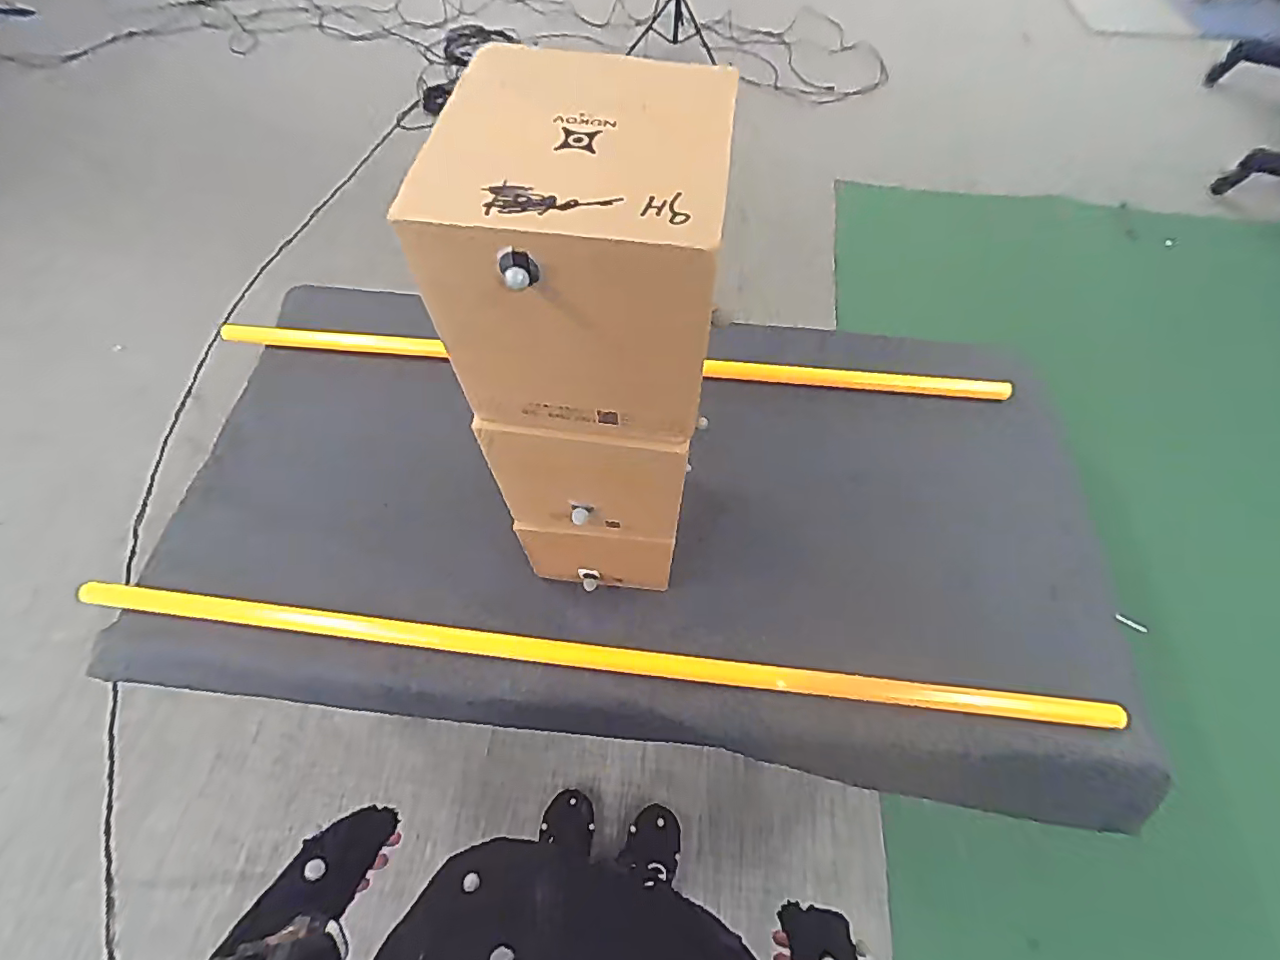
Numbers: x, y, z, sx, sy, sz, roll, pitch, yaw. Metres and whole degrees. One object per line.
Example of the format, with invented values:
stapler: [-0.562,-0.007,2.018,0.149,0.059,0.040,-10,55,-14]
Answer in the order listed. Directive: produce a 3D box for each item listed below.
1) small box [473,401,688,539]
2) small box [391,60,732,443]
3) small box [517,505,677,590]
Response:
small box: [-0.036,-0.064,0.515,0.168,0.176,0.179,7,62,4]
small box: [-0.034,-0.150,0.375,0.168,0.176,0.179,7,60,5]
small box: [-0.039,0.020,0.657,0.168,0.176,0.179,4,62,3]
